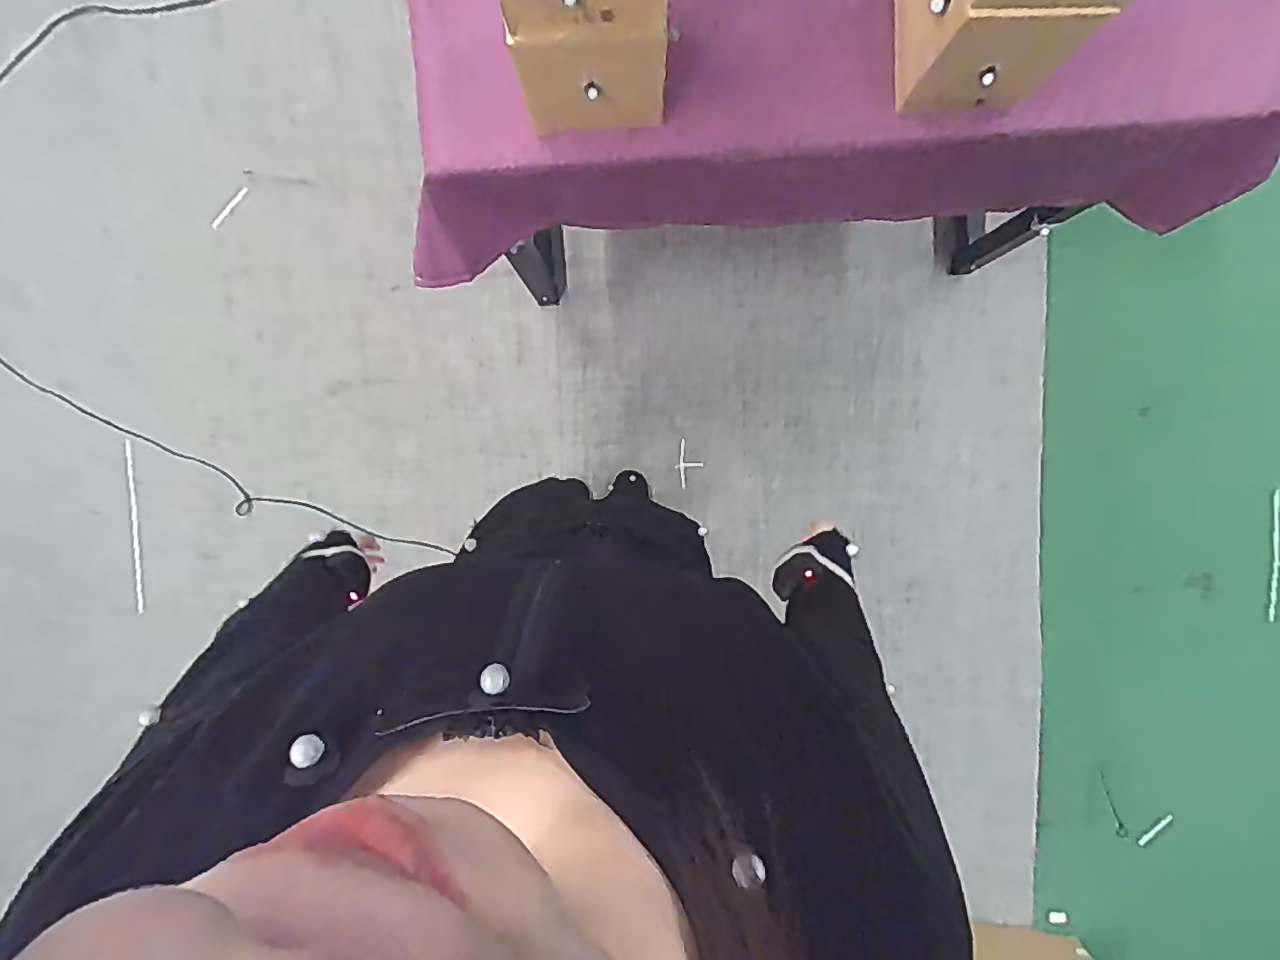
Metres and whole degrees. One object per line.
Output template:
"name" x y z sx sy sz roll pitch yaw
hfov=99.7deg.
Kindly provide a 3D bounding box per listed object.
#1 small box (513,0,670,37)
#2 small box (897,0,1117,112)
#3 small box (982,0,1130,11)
"small box" -0.054 -0.559 0.493 0.168 0.176 0.179 -4 93 0
"small box" 0.433 -0.584 0.659 0.168 0.176 0.179 -1 93 -1
"small box" 0.442 -0.579 0.495 0.179 0.176 0.168 0 93 -1
